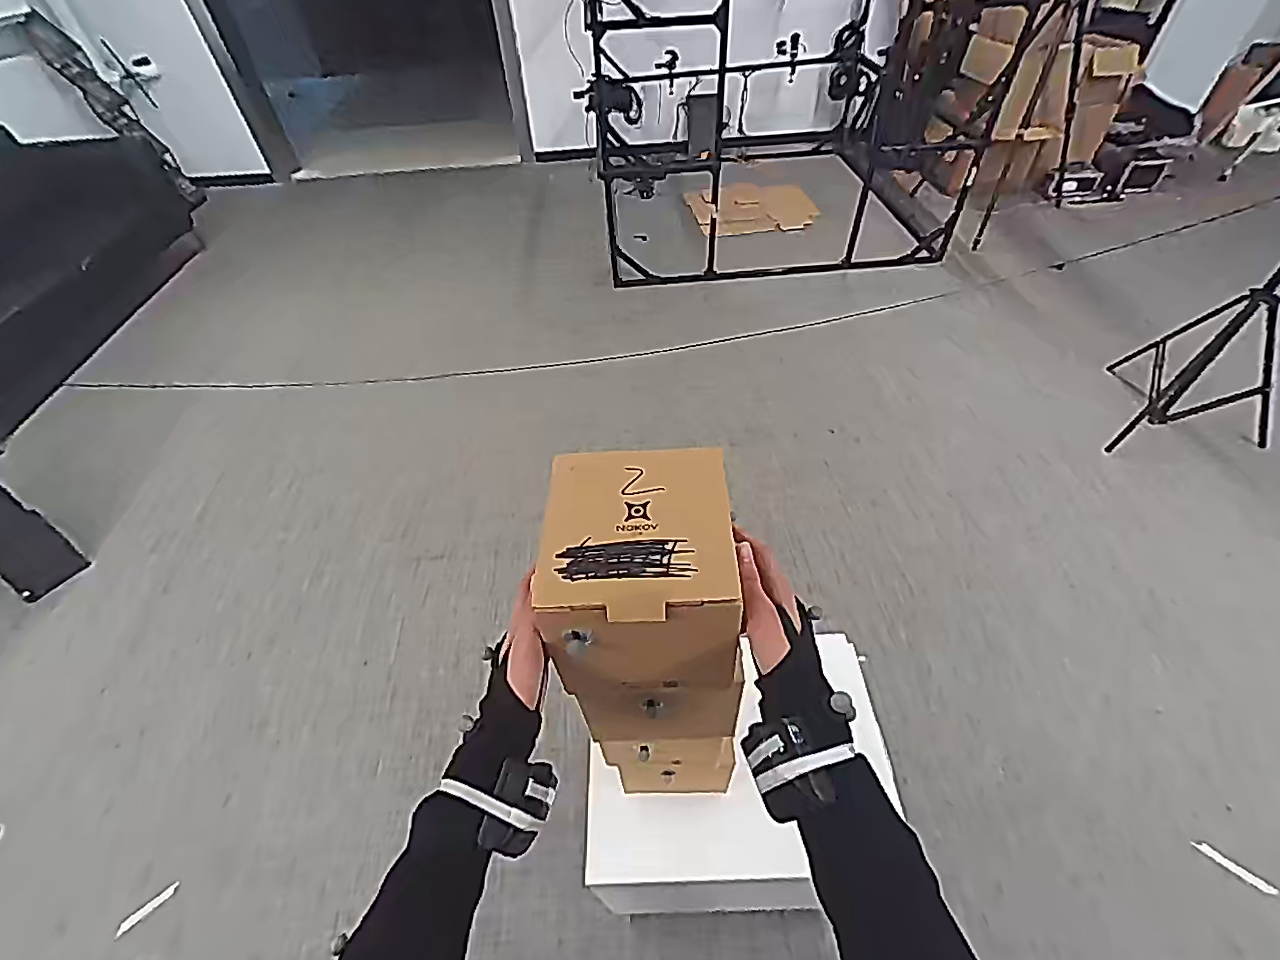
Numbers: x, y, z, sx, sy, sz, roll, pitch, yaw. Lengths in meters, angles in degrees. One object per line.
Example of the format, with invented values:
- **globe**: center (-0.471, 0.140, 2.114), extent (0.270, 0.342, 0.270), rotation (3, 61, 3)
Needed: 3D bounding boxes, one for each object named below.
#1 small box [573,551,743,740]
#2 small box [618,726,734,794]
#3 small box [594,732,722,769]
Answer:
- **small box**: center (0.022, 0.203, 0.654), extent (0.179, 0.176, 0.168), rotation (-3, 48, 1)
- **small box**: center (0.056, 0.413, 0.903), extent (0.179, 0.176, 0.168), rotation (-1, 47, 1)
- **small box**: center (0.031, 0.304, 0.784), extent (0.168, 0.176, 0.179), rotation (0, 47, 3)
